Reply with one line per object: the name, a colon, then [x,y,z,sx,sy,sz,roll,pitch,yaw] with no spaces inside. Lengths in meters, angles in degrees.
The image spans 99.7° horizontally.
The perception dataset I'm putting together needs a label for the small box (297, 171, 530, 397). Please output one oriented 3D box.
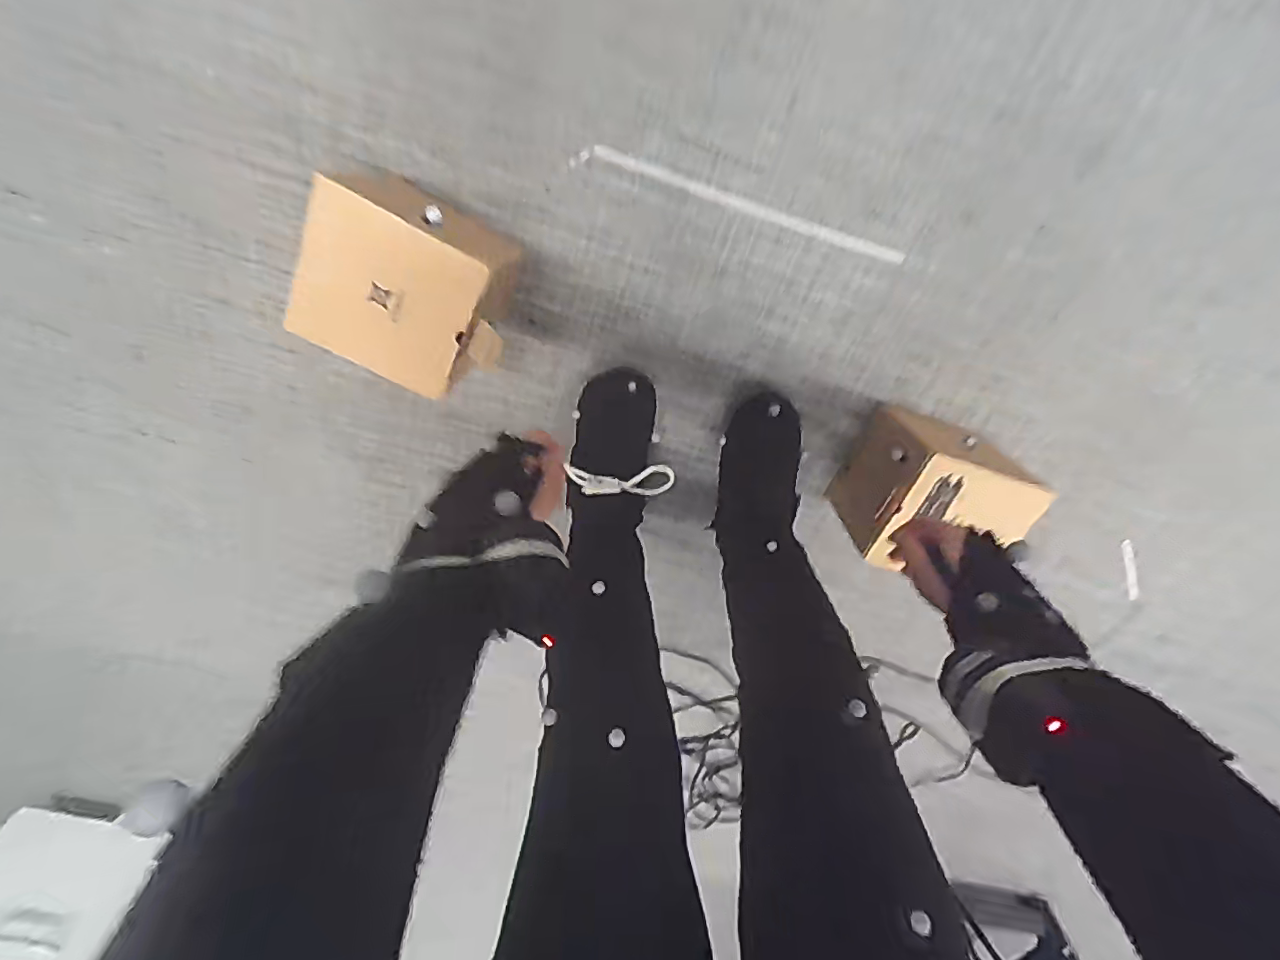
small box: [-0.249,-0.228,0.630,0.179,0.176,0.168,26,115,-14]
